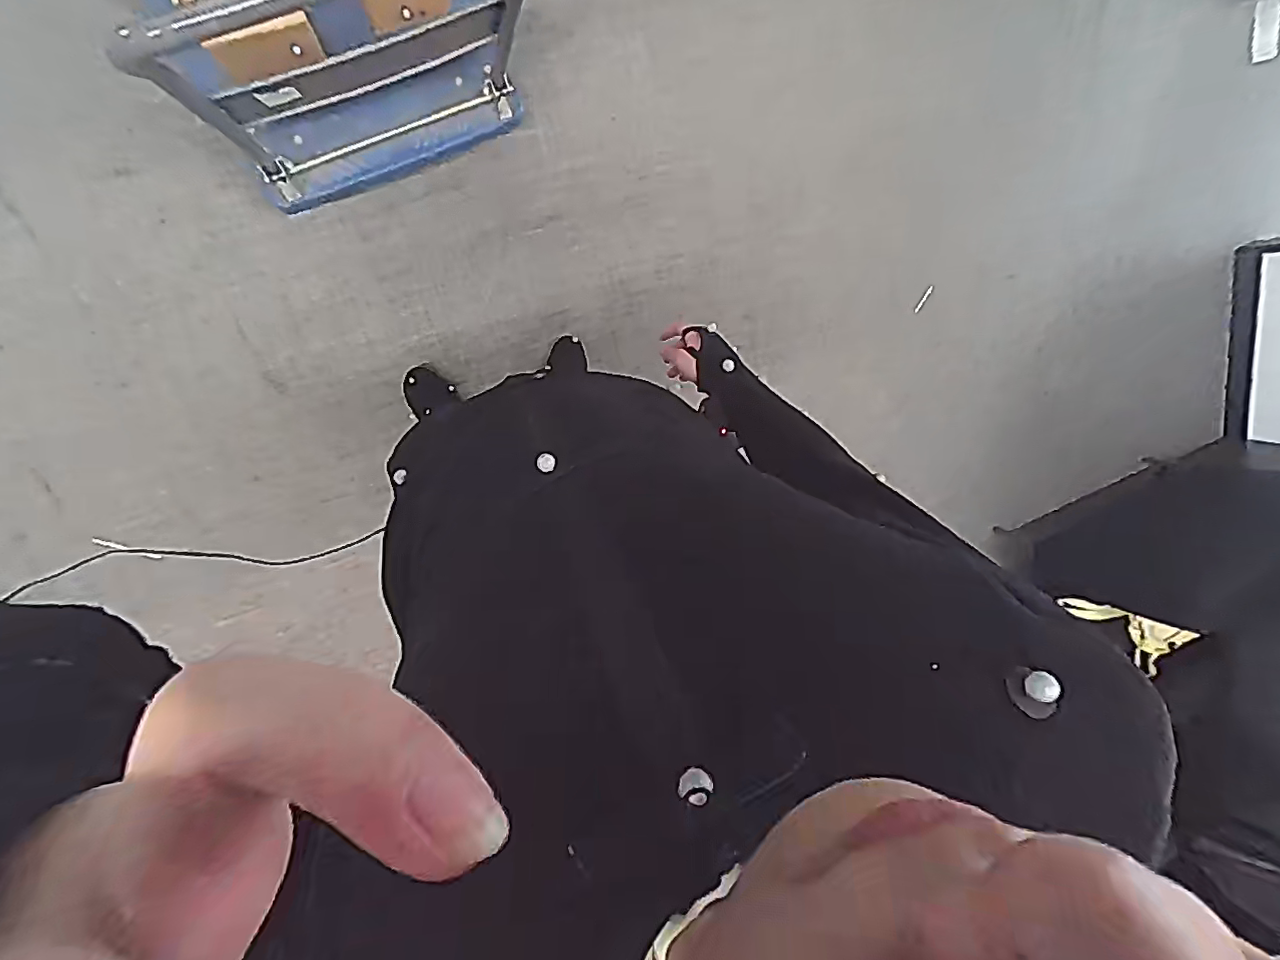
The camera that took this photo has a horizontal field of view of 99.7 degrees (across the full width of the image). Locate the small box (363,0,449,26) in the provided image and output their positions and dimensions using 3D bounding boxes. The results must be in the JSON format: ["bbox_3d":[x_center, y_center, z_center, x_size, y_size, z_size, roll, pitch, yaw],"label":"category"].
[{"bbox_3d":[-0.464,-0.992,0.989,0.168,0.176,0.179,-26,112,-9],"label":"small box"}]
